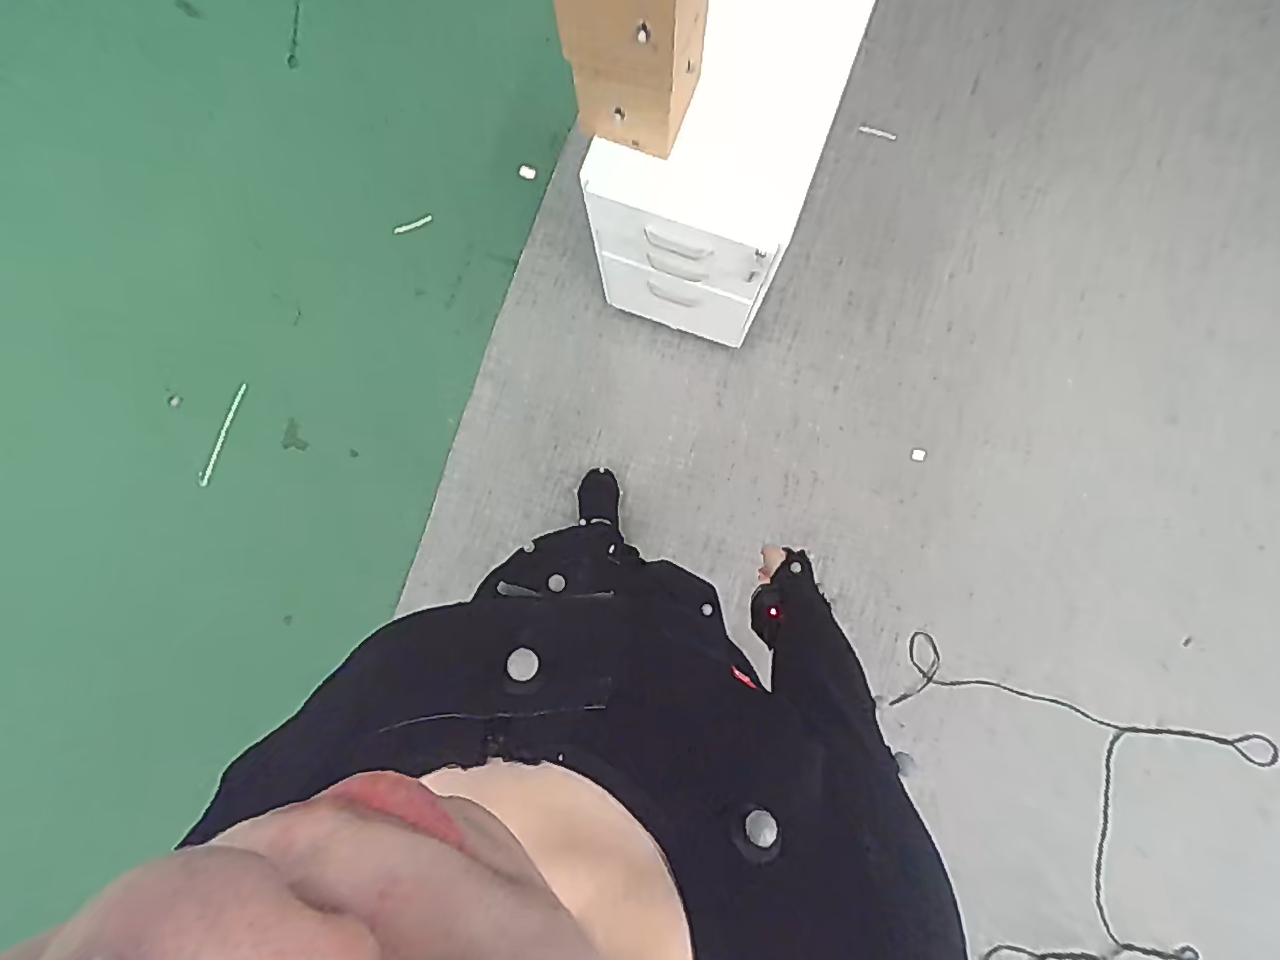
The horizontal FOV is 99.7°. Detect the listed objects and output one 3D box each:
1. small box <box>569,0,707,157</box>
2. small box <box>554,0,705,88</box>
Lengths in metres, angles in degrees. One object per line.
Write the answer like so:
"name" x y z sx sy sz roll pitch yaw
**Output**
"small box" -0.001 -0.681 0.893 0.168 0.176 0.179 21 86 1
"small box" -0.007 -0.680 0.730 0.179 0.176 0.168 19 85 3
